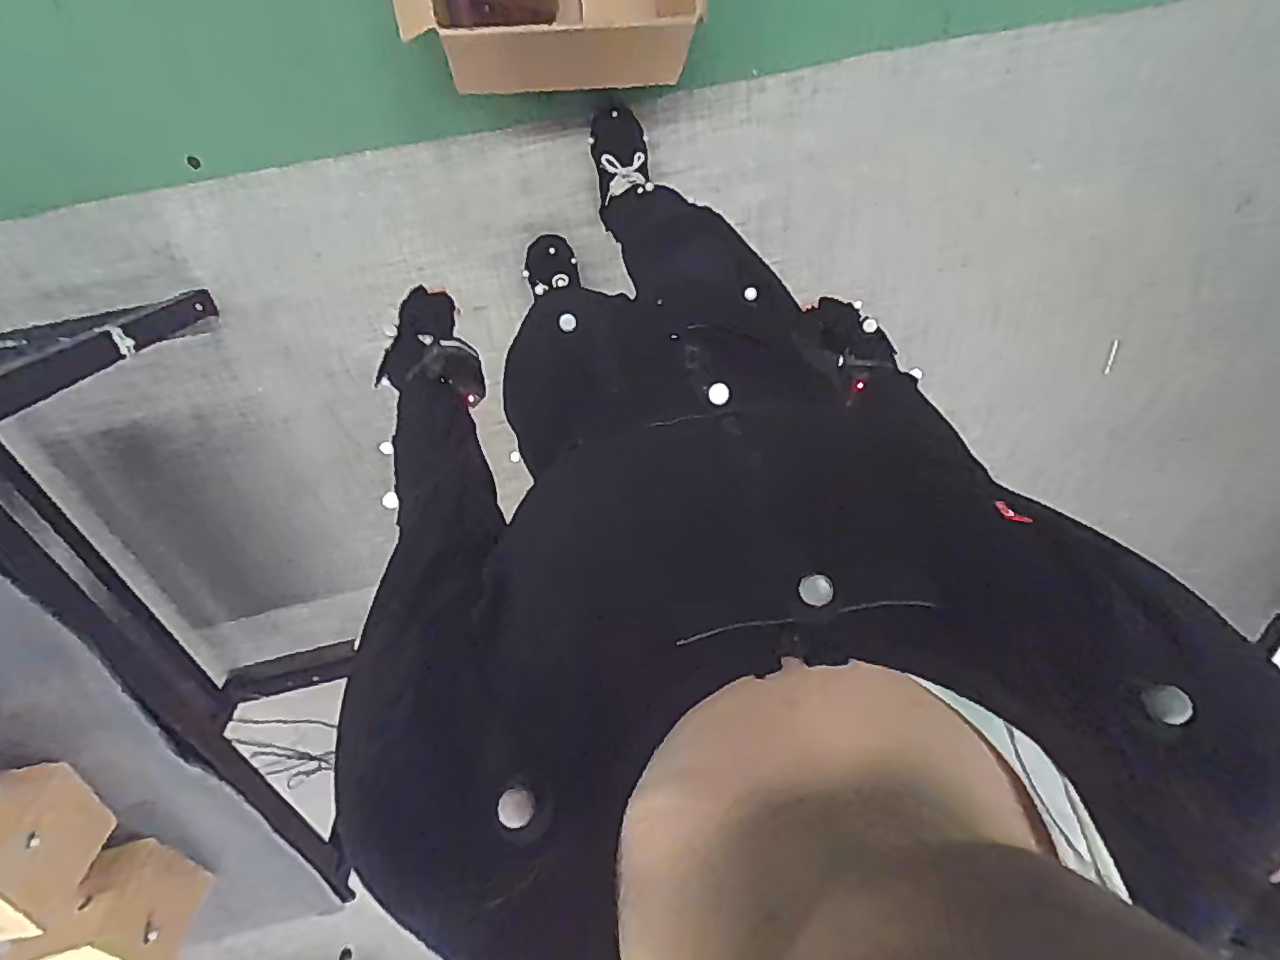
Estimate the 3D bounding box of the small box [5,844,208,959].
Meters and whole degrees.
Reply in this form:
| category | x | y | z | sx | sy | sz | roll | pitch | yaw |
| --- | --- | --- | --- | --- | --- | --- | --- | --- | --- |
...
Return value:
| category | x | y | z | sx | sy | sz | roll | pitch | yaw |
| --- | --- | --- | --- | --- | --- | --- | --- | --- | --- |
| small box | -0.925 | 0.774 | 0.948 | 0.168 | 0.176 | 0.179 | -17 | 122 | -1 |
